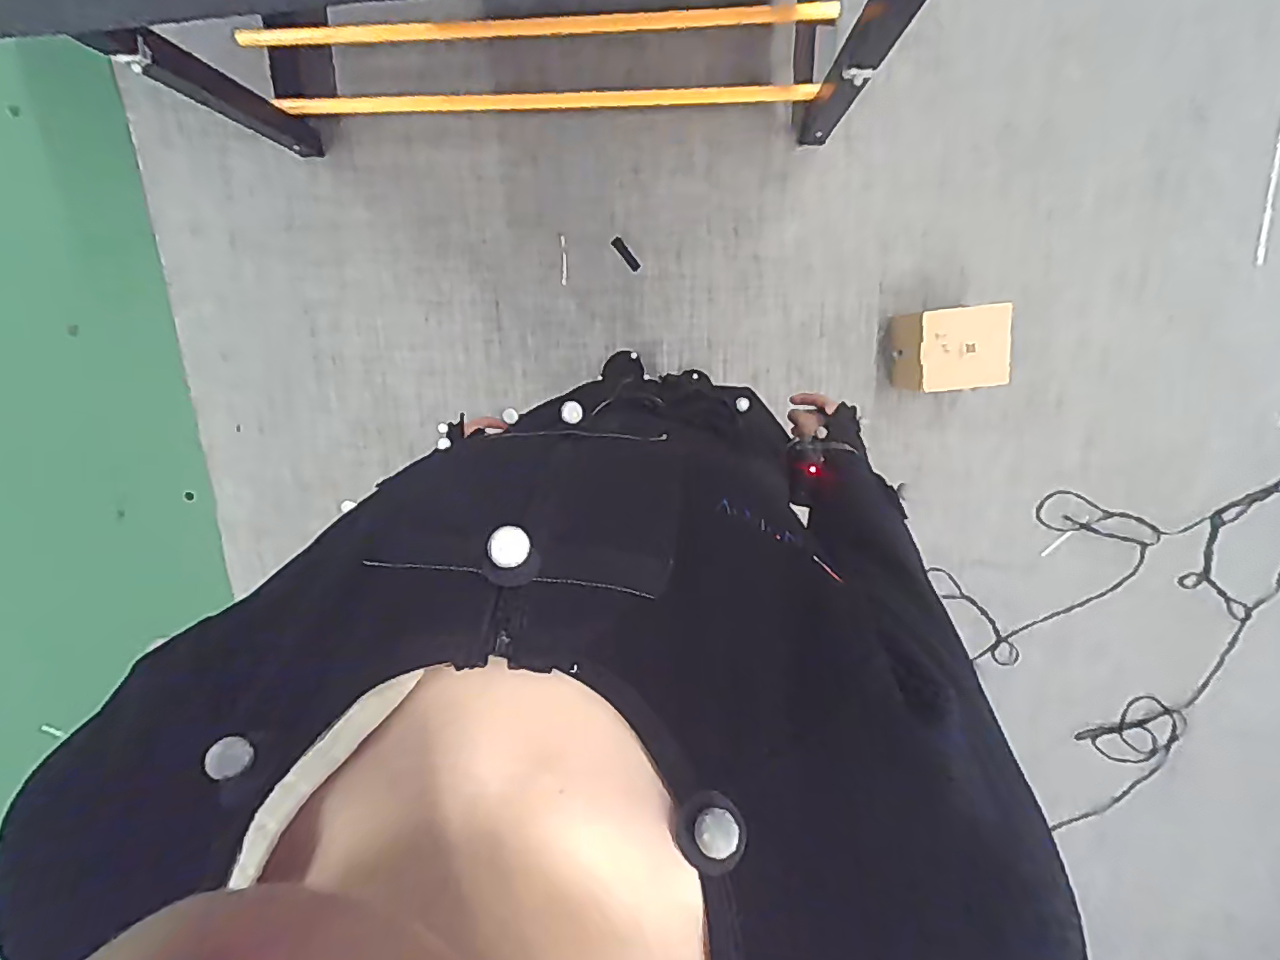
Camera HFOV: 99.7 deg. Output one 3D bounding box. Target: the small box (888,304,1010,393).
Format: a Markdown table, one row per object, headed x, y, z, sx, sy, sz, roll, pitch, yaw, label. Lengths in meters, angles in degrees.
| x | y | z | sx | sy | sz | roll | pitch | yaw | label |
| --- | --- | --- | --- | --- | --- | --- | --- | --- | --- |
| 0.663 | -0.286 | 1.177 | 0.179 | 0.176 | 0.168 | -5 | 103 | 5 | small box |
